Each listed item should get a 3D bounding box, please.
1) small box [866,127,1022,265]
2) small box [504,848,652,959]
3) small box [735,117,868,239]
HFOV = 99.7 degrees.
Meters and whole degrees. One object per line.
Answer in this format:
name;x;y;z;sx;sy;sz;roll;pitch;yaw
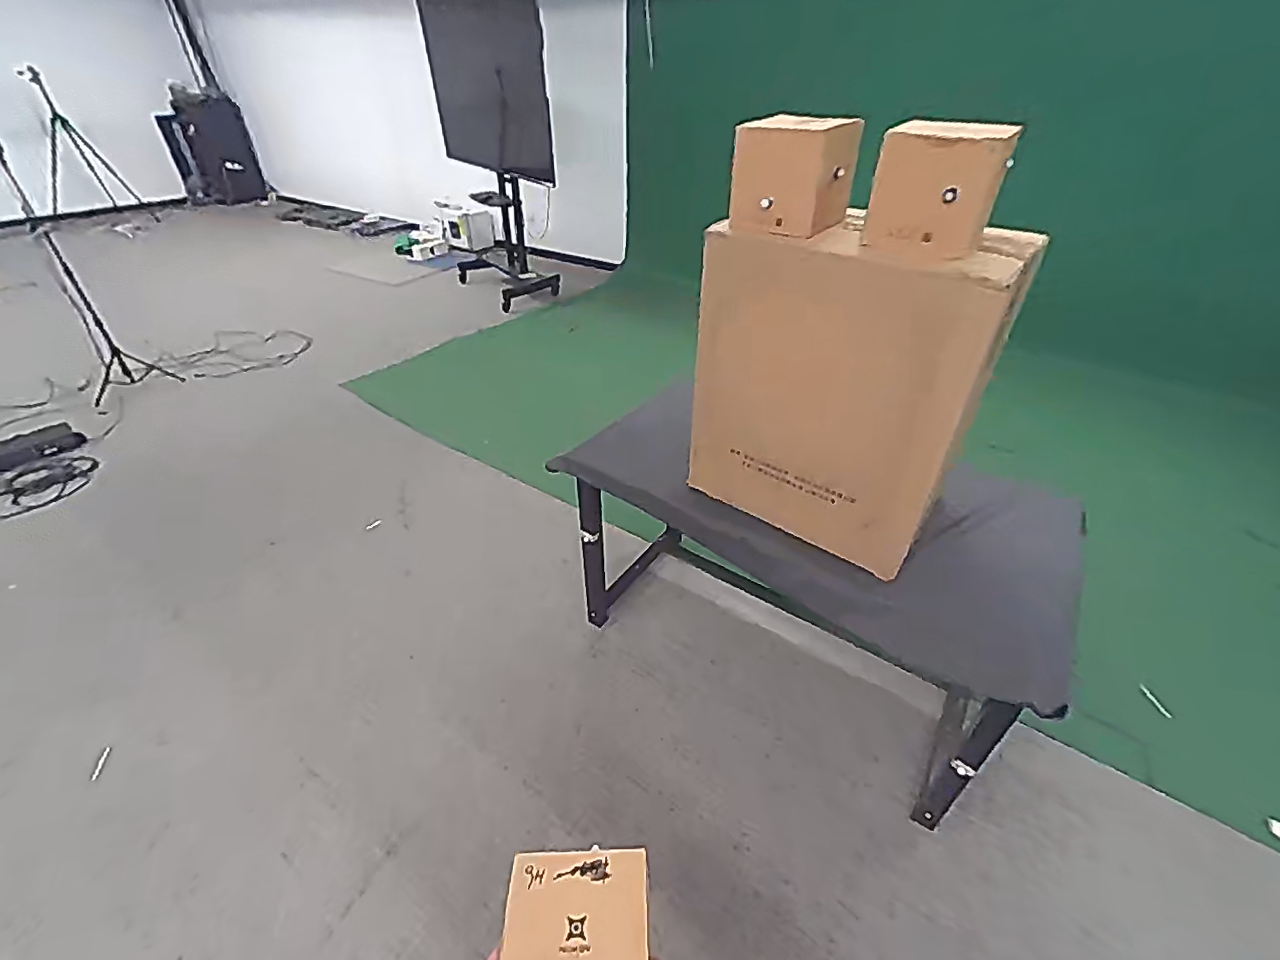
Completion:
small box;0.495;-0.472;0.896;0.168;0.176;0.179;25;44;24
small box;-0.069;0.589;0.664;0.168;0.176;0.179;-4;36;-3
small box;0.290;-0.563;1.000;0.168;0.176;0.179;27;46;31
